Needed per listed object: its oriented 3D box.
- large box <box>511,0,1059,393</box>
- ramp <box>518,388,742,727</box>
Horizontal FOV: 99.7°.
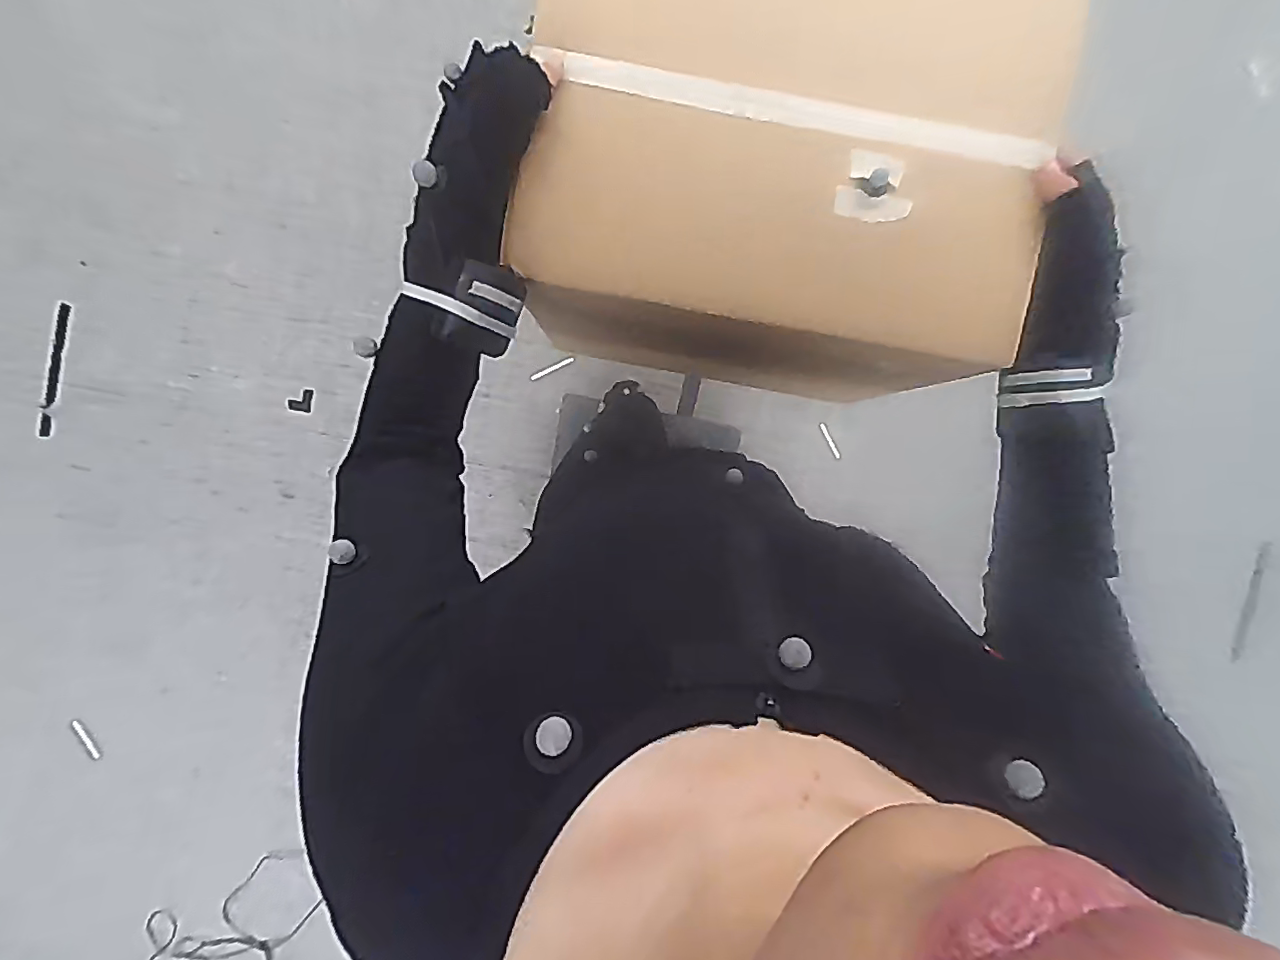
[{"bbox_3d":[0.110,-0.291,0.573,0.408,0.320,0.320,10,93,-2],"label":"large box"},{"bbox_3d":[-0.053,0.268,1.576,0.509,0.206,0.991,9,95,-2],"label":"ramp"}]
